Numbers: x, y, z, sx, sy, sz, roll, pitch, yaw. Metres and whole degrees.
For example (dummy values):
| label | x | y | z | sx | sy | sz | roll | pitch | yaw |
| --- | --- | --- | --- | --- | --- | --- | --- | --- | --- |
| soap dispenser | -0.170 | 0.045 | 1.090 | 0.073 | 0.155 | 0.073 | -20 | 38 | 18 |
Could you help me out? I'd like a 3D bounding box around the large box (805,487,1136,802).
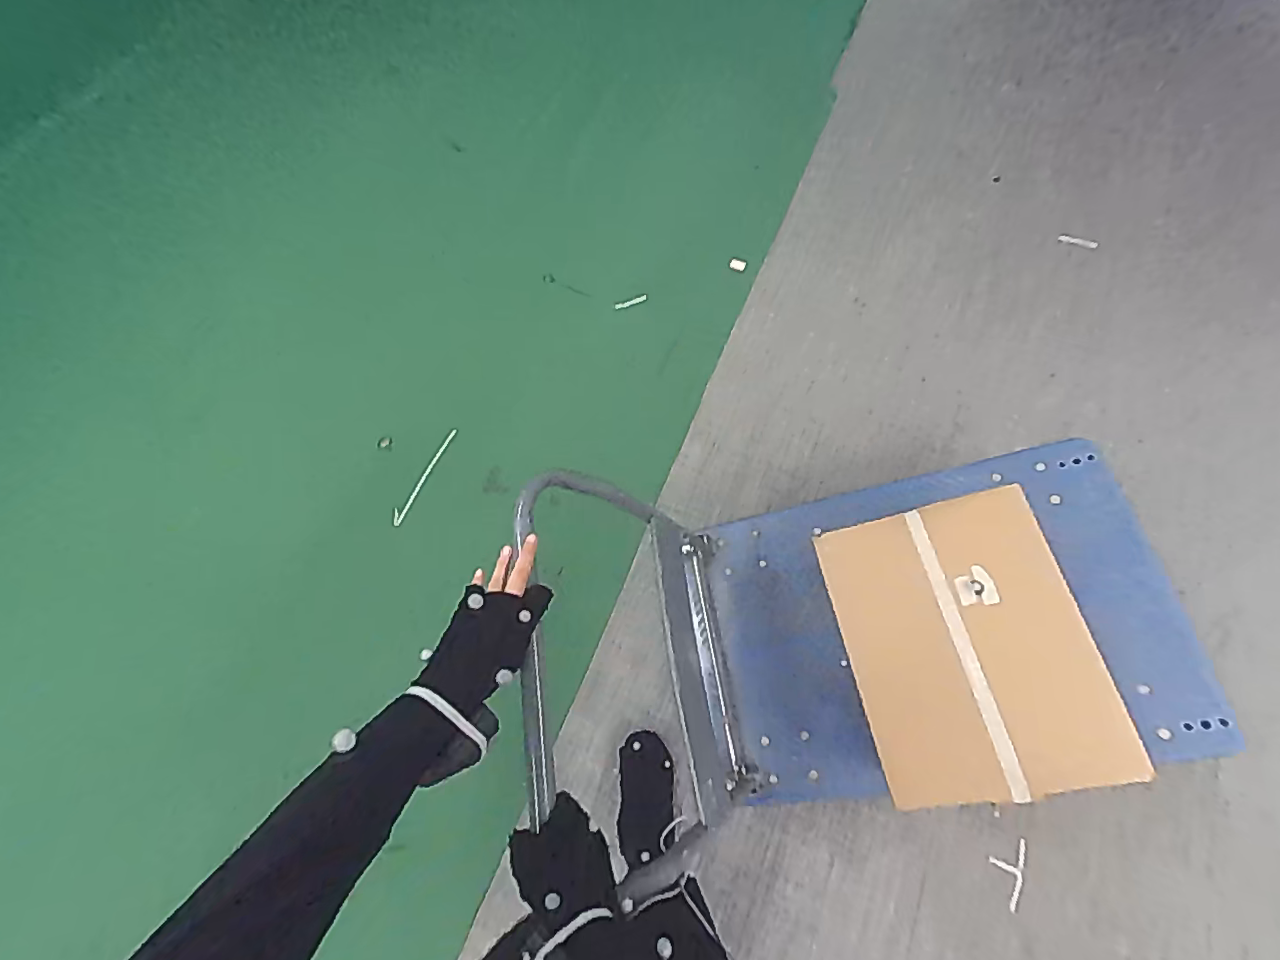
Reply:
| label | x | y | z | sx | sy | sz | roll | pitch | yaw |
| --- | --- | --- | --- | --- | --- | --- | --- | --- | --- |
| large box | 0.509 | 0.278 | 0.927 | 0.320 | 0.320 | 0.408 | -17 | 66 | 16 |
